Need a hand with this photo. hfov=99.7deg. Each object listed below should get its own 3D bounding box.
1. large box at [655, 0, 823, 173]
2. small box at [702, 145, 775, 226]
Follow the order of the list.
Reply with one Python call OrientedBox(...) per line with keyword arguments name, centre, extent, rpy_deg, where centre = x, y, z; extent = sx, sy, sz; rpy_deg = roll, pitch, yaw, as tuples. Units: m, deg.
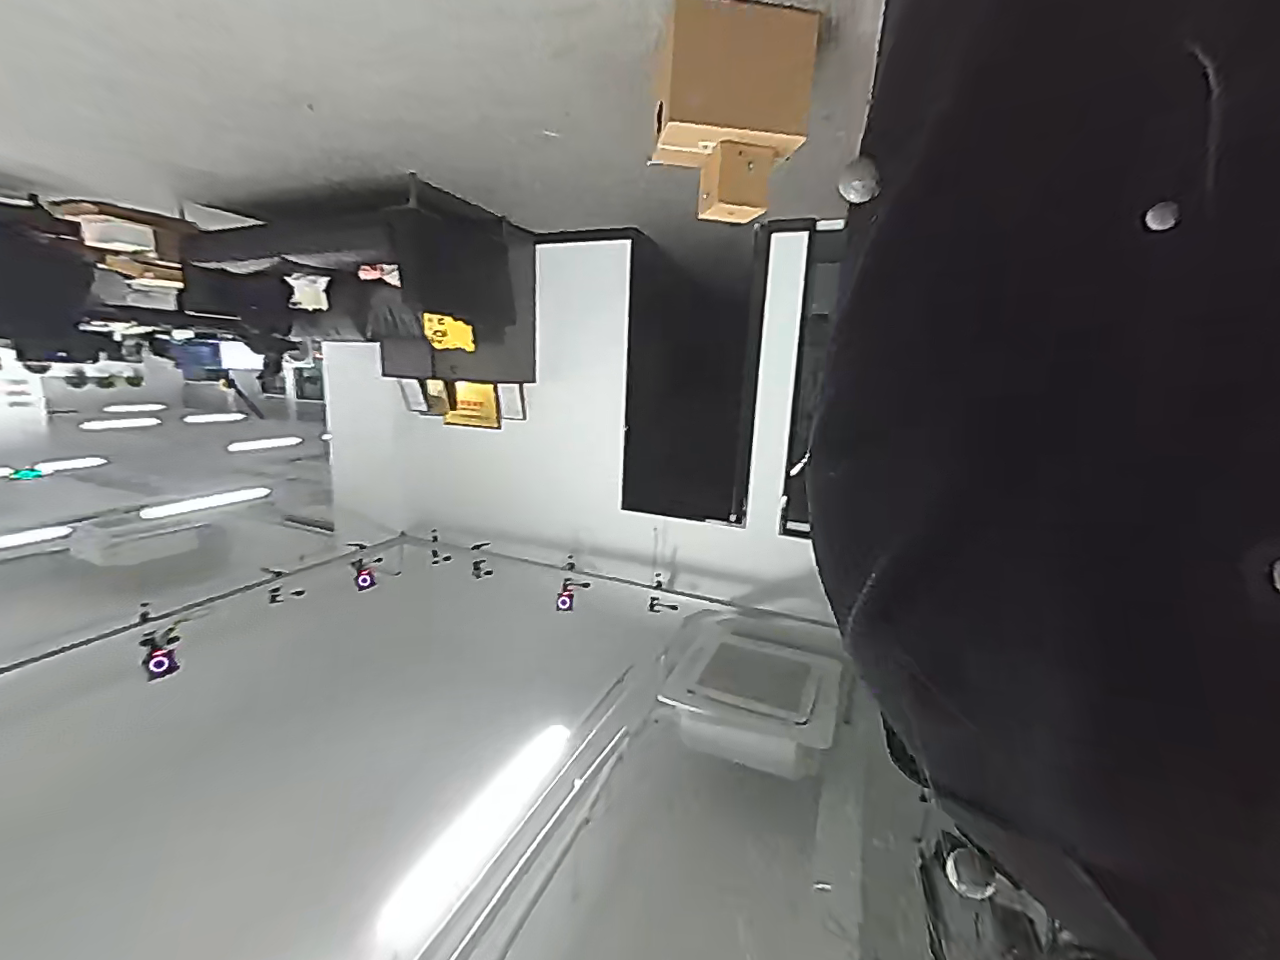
OrientedBox(name="large box", centre=(0.272, -1.134, 1.594), extent=(0.408, 0.320, 0.320), rpy_deg=(3, -169, -8))
OrientedBox(name="small box", centre=(0.302, -0.897, 1.658), extent=(0.168, 0.176, 0.179), rpy_deg=(1, -168, -12))
